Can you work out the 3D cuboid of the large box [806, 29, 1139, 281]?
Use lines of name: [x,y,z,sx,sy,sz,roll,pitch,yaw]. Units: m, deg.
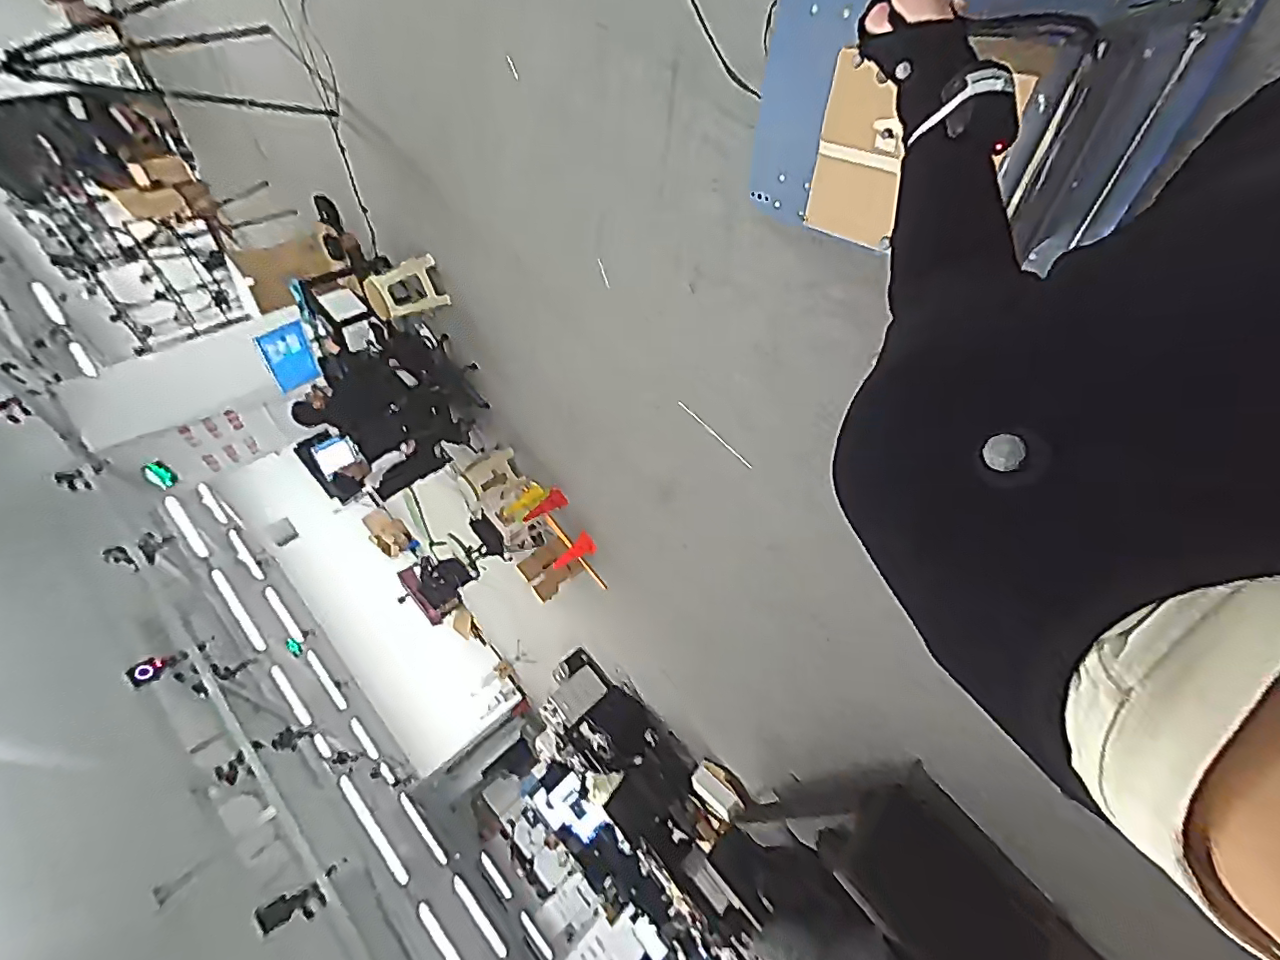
large box: [0.607,-0.645,1.050,0.408,0.320,0.320,38,147,30]
